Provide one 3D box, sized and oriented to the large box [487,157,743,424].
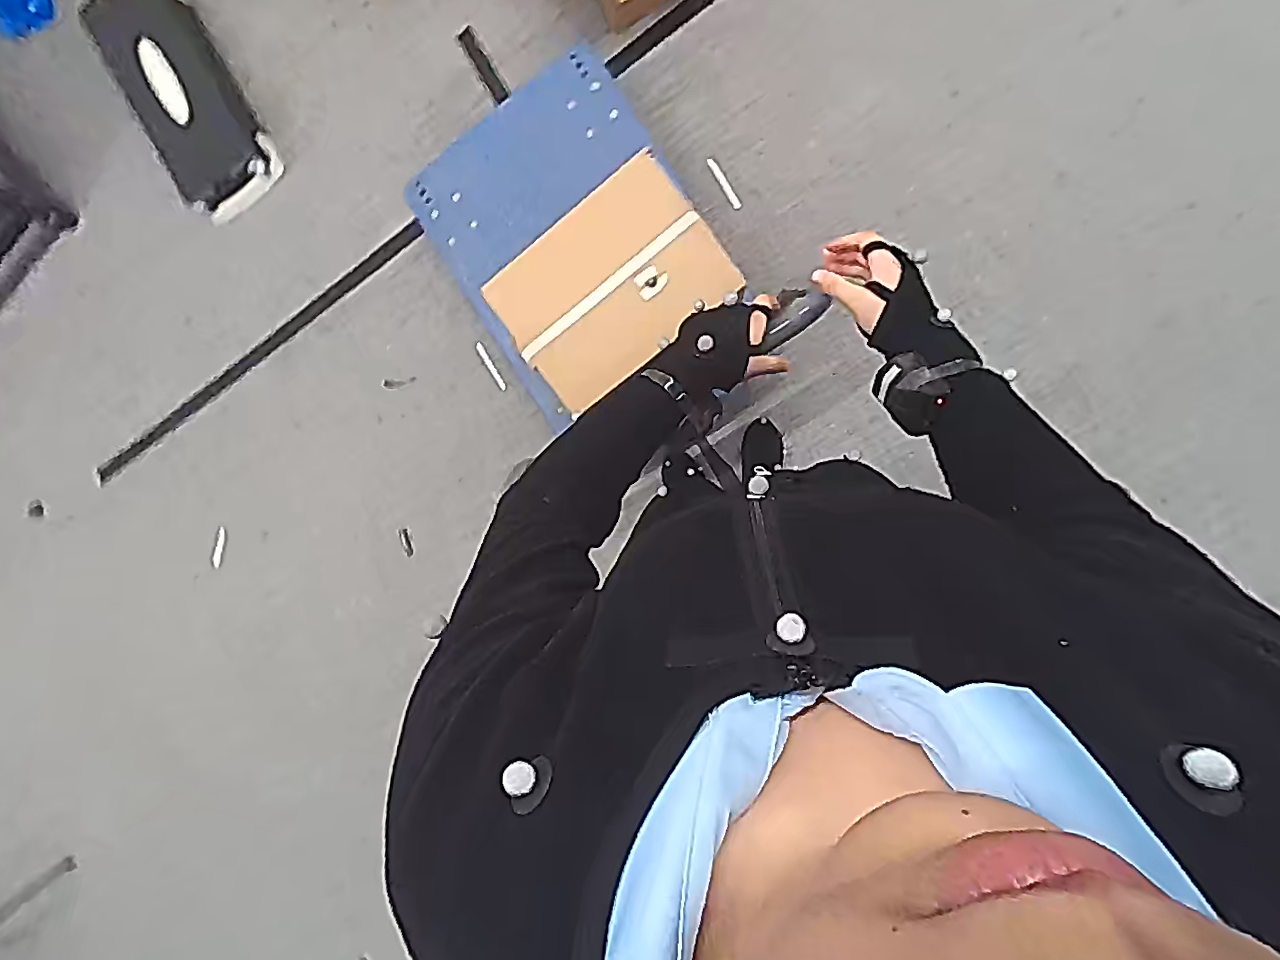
[{"bbox_3d":[-0.037,-0.365,1.162,0.408,0.320,0.320,-37,90,8],"label":"large box"}]
